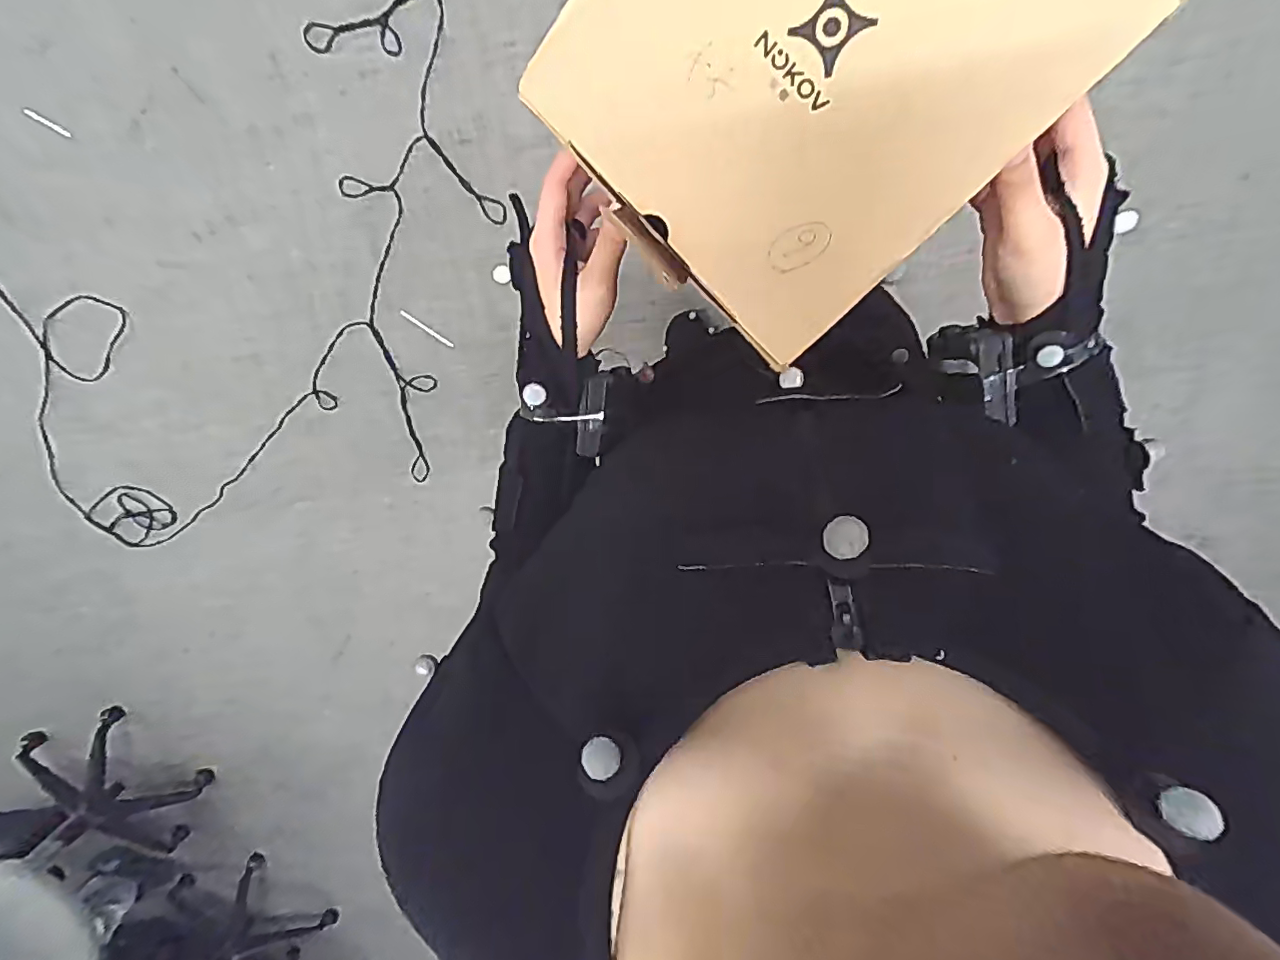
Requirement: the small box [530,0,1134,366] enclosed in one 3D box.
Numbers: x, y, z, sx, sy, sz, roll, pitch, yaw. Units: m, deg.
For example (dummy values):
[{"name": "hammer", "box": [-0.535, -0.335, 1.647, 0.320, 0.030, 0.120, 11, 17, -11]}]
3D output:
[{"name": "small box", "box": [0.080, -0.187, 0.291, 0.168, 0.176, 0.179, 45, 111, -5]}]
